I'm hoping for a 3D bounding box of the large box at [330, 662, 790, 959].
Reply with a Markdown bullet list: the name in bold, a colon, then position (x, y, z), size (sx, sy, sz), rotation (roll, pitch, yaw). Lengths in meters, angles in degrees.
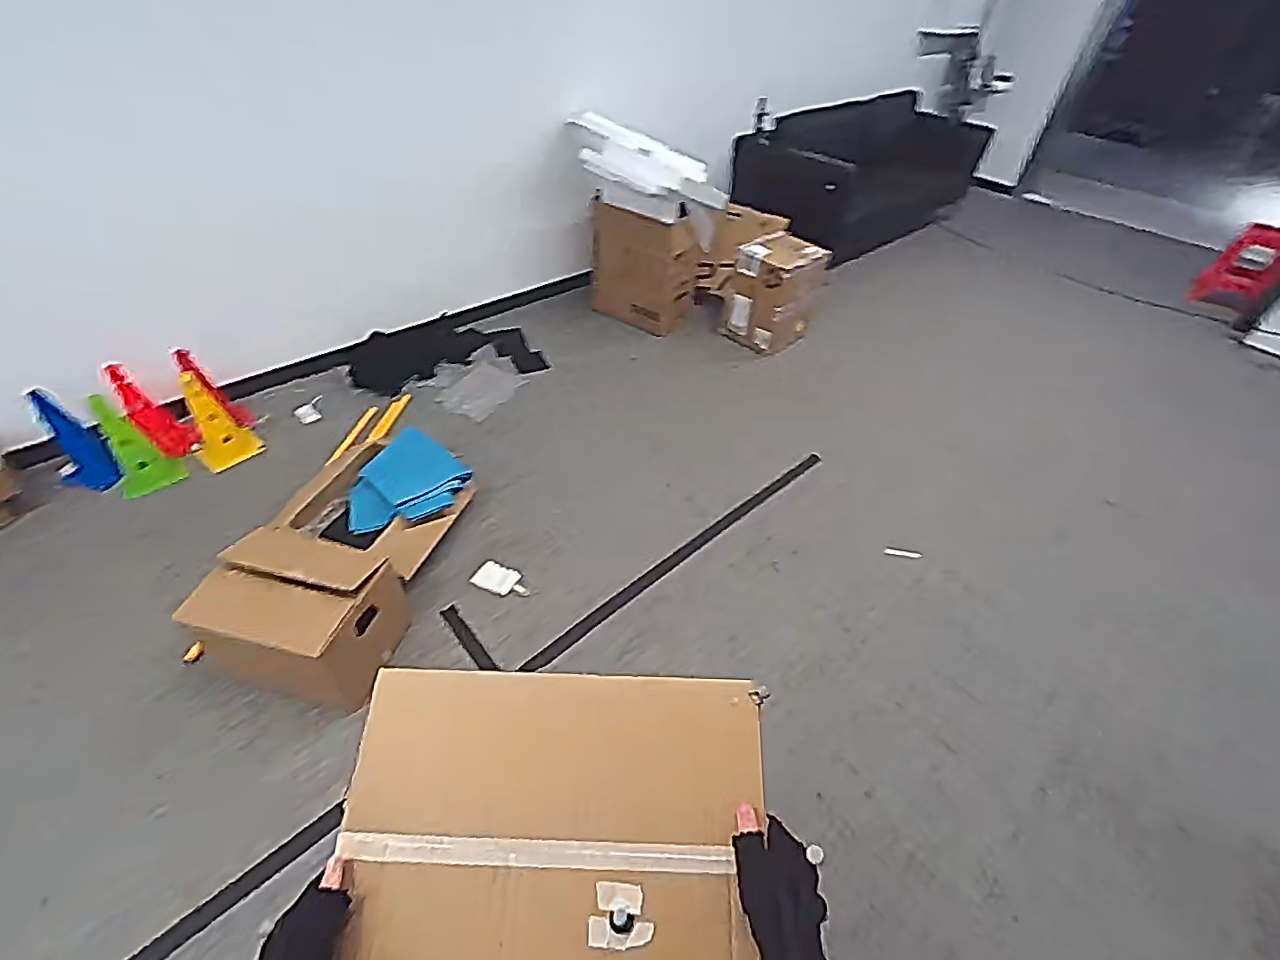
- **large box**: position (-0.066, 0.400, 0.634), size (0.408, 0.320, 0.320), rotation (1, 65, 2)
